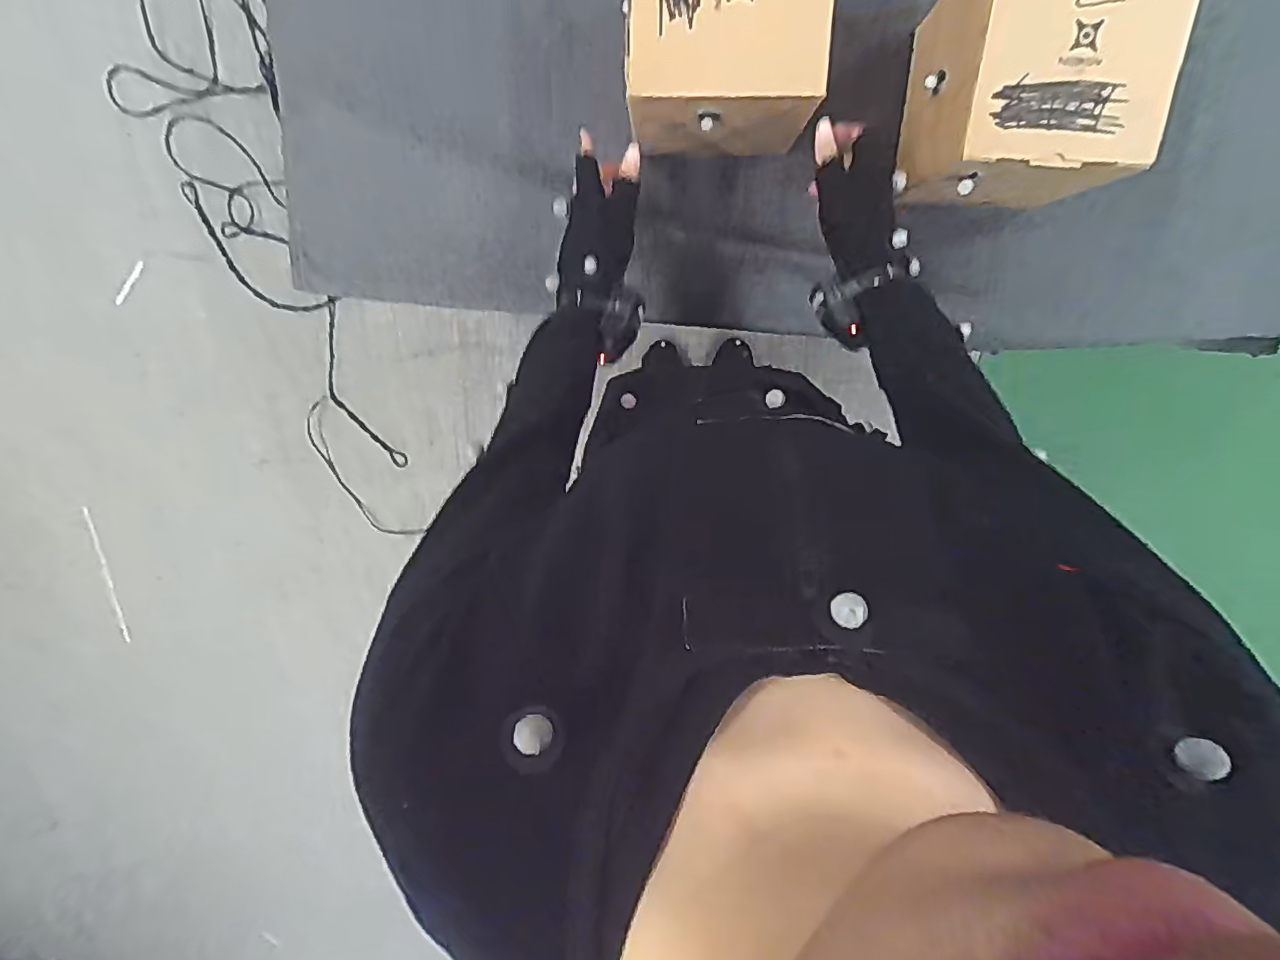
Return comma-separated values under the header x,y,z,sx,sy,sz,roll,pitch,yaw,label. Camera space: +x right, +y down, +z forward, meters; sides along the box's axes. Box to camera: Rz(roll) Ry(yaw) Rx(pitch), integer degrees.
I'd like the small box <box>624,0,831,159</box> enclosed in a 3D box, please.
x,y,z,sx,sy,sz,roll,pitch,yaw,label
0.078,-0.432,0.533,0.179,0.176,0.168,1,105,2,small box
